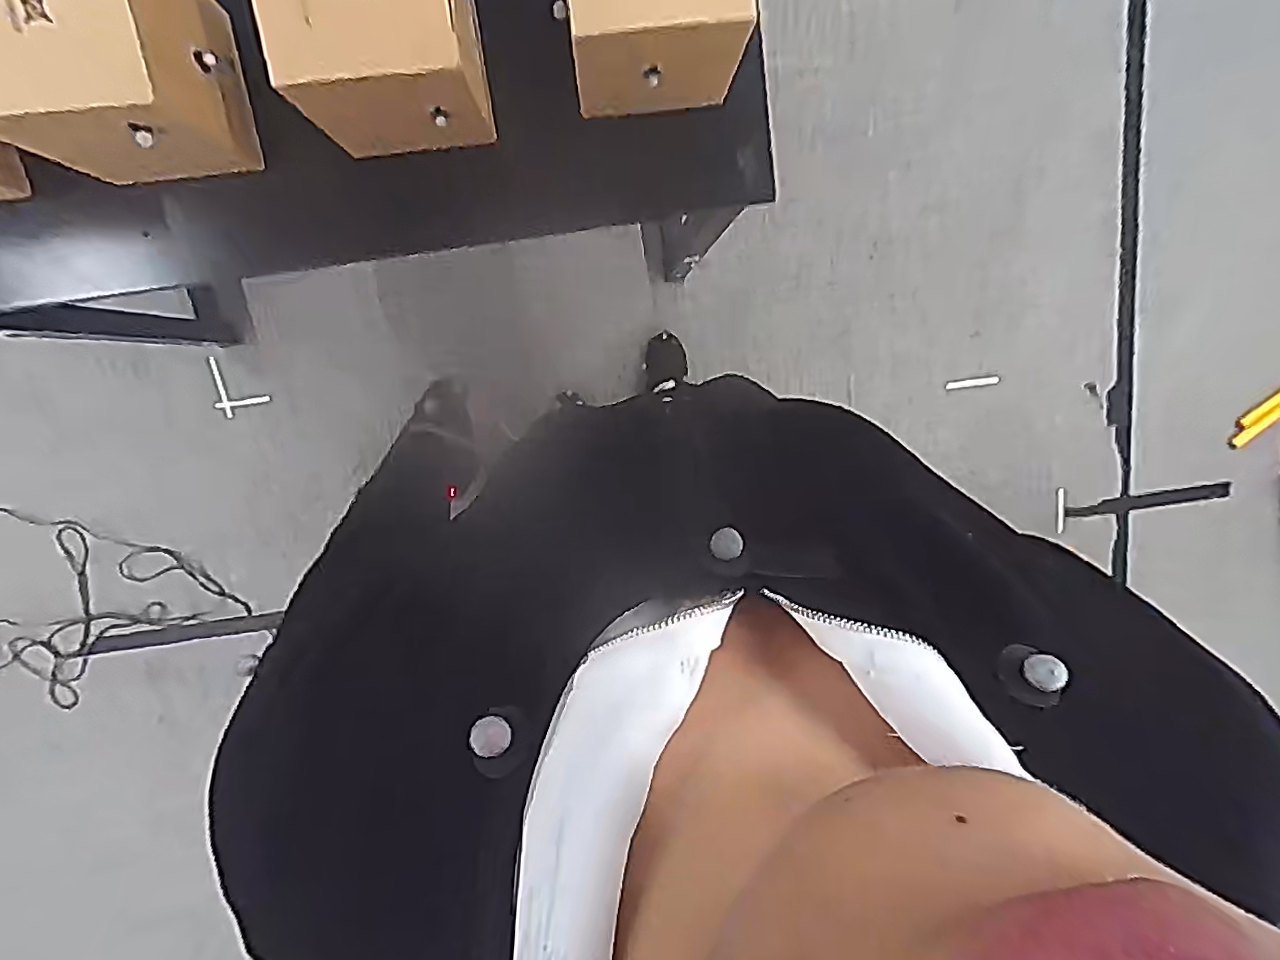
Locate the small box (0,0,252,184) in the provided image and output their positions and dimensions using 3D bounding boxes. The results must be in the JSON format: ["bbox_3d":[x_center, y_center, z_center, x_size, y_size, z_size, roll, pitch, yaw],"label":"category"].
[{"bbox_3d":[-0.538,-0.423,0.551,0.179,0.176,0.168,-8,101,-2],"label":"small box"}]

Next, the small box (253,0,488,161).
[{"bbox_3d":[-0.267,-0.461,0.564,0.179,0.176,0.168,-9,100,-2],"label":"small box"}]

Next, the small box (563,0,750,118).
[{"bbox_3d":[0.006,-0.513,0.569,0.179,0.176,0.168,-7,101,-1],"label":"small box"}]
